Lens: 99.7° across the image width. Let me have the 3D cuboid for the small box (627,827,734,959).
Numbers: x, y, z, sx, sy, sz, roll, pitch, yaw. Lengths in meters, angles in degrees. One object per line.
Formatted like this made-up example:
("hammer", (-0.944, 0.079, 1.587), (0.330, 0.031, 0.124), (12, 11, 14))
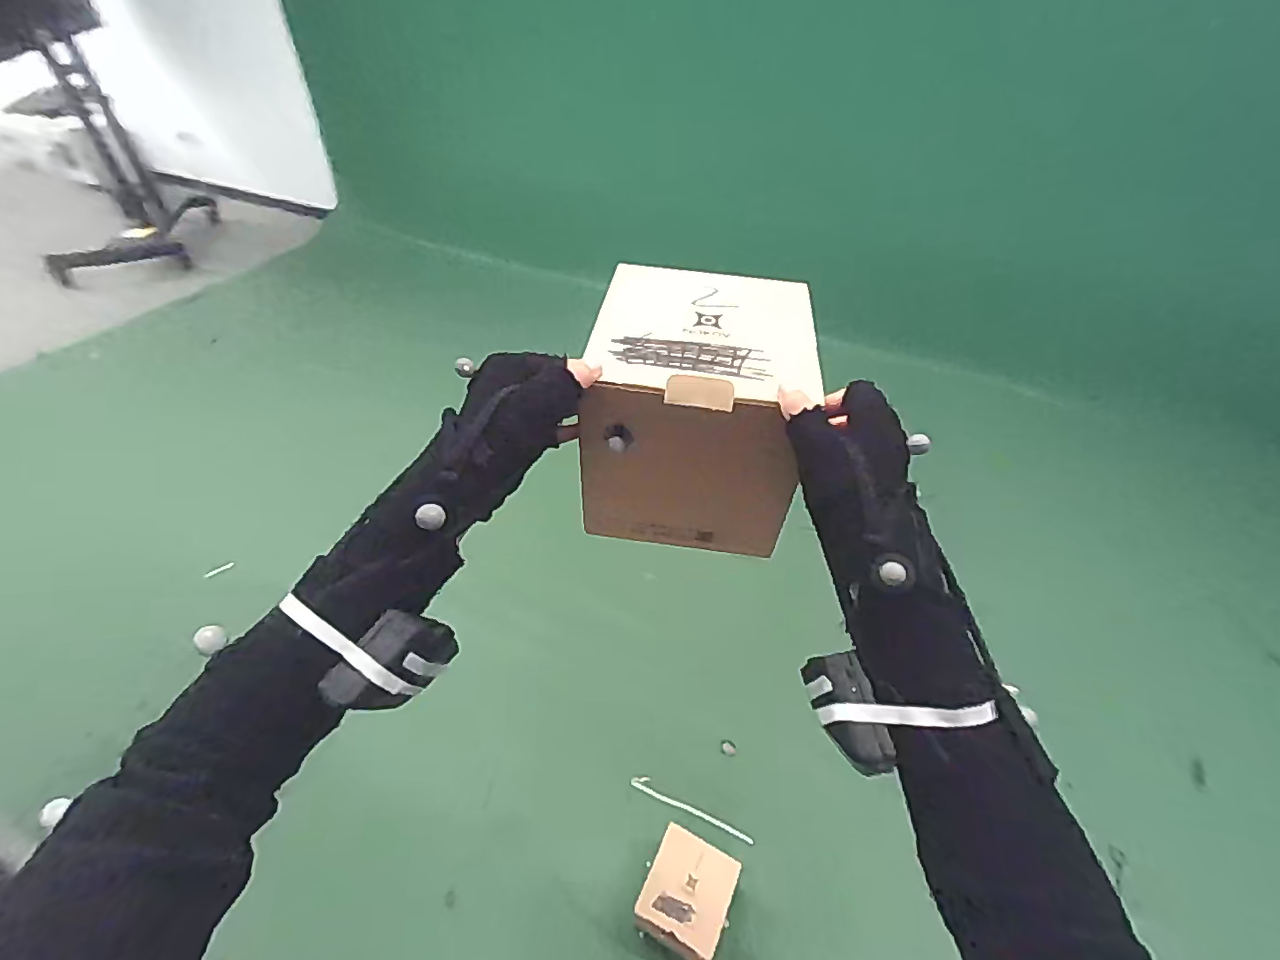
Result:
("small box", (0.082, 0.875, 1.132), (0.168, 0.176, 0.179), (20, 48, 15))
